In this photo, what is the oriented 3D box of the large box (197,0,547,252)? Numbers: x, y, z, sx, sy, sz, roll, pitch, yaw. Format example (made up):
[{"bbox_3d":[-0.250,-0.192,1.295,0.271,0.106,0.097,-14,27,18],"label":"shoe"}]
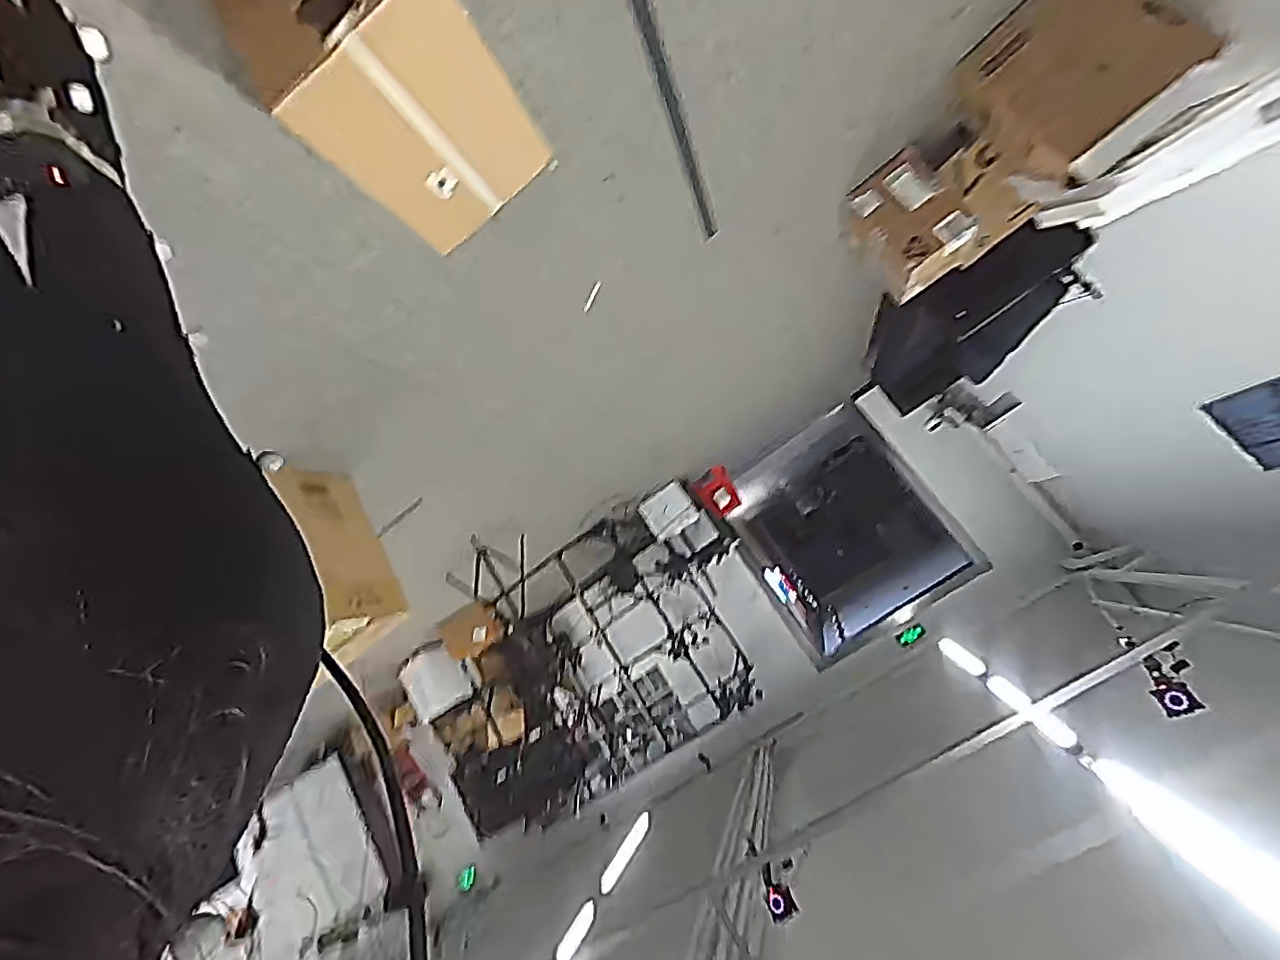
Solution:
[{"bbox_3d":[-0.442,-0.708,0.963,0.320,0.320,0.408,-36,166,9],"label":"large box"}]
